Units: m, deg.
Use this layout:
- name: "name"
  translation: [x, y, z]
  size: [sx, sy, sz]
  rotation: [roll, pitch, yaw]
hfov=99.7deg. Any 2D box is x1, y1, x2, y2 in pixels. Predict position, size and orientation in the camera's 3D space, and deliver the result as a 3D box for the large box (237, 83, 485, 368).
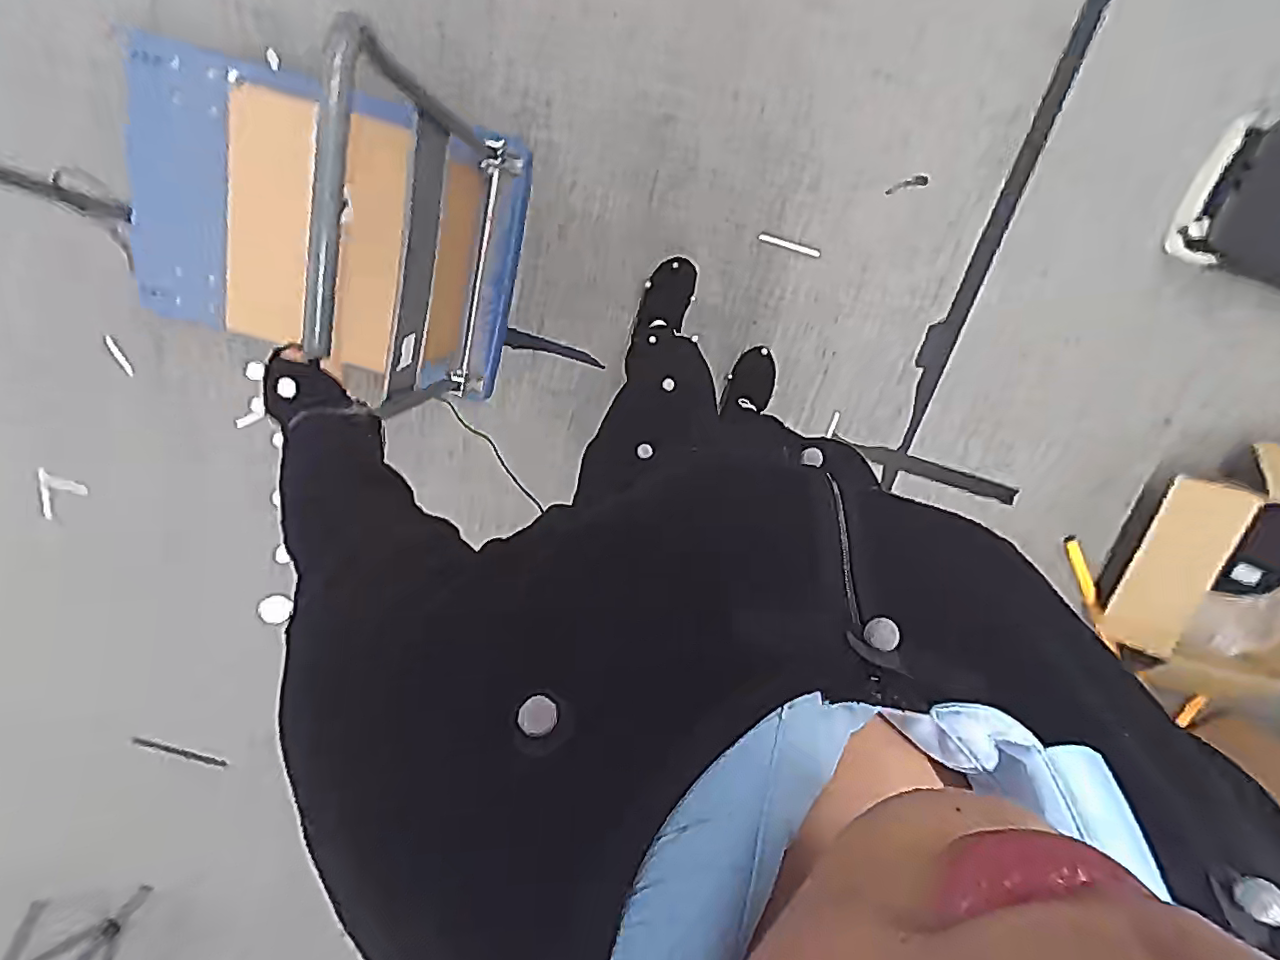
- name: "large box"
  translation: [-0.538, -0.468, 1.081]
  size: [0.320, 0.320, 0.408]
  rotation: [16, 108, -1]
